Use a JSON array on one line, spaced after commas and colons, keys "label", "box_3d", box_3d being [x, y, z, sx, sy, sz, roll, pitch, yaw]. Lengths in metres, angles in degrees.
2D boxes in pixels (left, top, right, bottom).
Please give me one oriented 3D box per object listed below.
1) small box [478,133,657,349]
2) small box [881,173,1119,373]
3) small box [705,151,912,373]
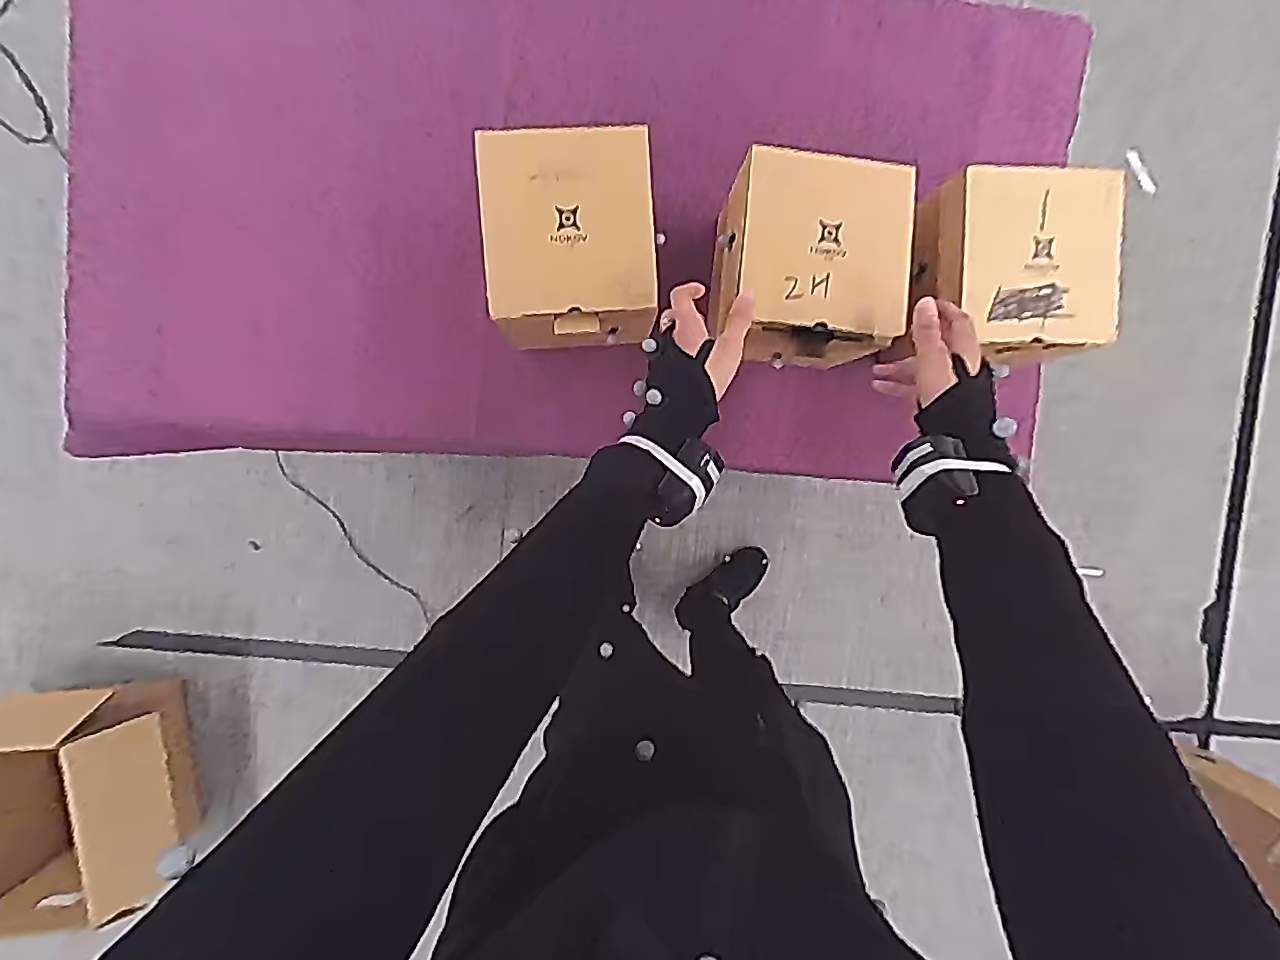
[{"label": "small box", "box_3d": [-0.071, -0.245, 0.597, 0.168, 0.176, 0.179, -4, 93, -3]}, {"label": "small box", "box_3d": [0.394, -0.221, 0.623, 0.168, 0.176, 0.179, 0, 92, -3]}, {"label": "small box", "box_3d": [0.174, -0.228, 0.610, 0.168, 0.176, 0.179, 6, 93, -3]}]
